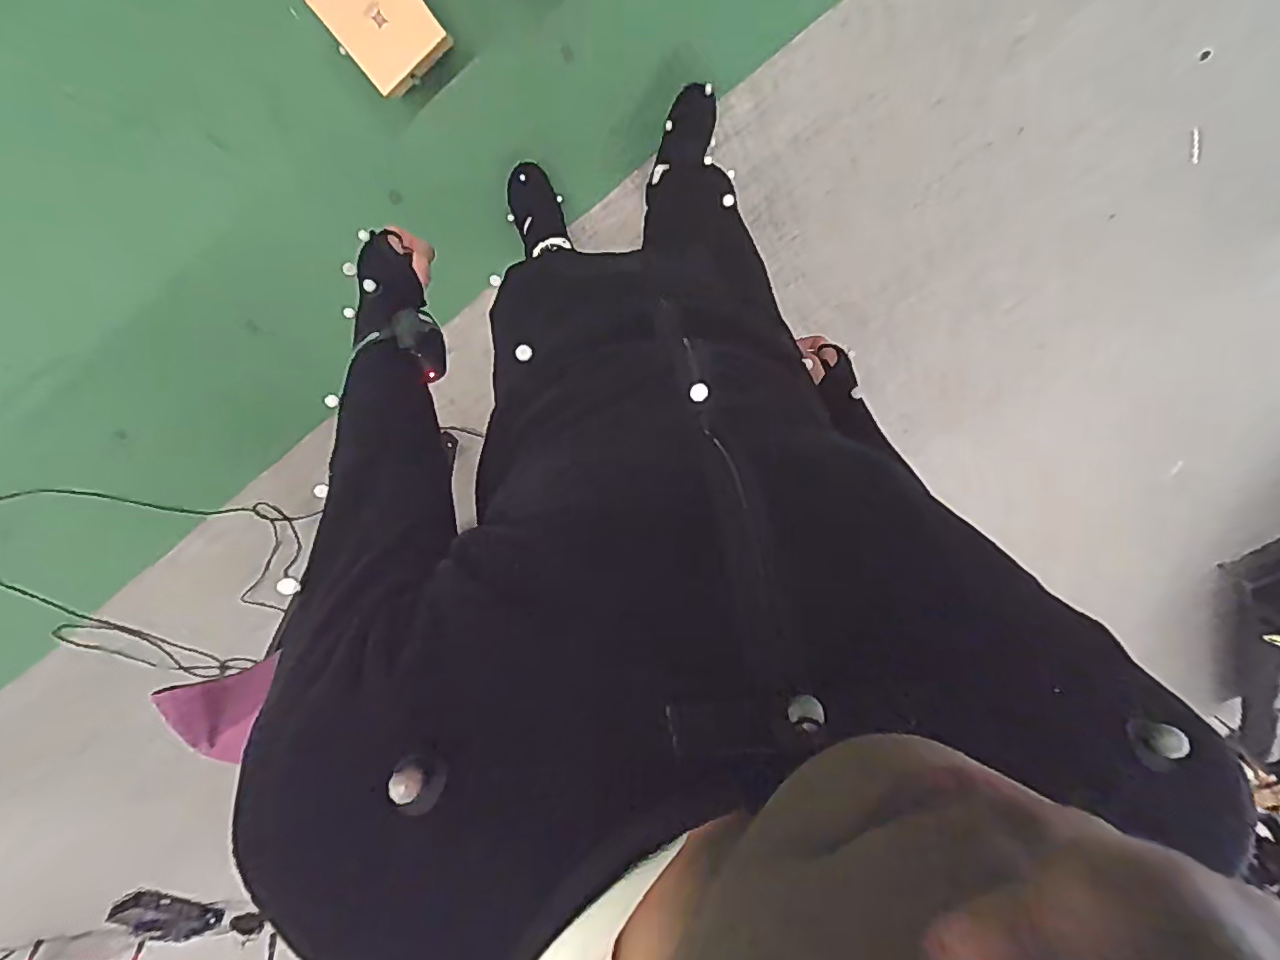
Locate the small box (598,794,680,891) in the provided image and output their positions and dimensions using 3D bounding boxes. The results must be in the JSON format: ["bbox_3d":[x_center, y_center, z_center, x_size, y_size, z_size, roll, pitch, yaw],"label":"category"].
[{"bbox_3d":[-0.012,1.058,1.580,0.179,0.176,0.168,-40,123,15],"label":"small box"}]

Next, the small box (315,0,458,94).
[{"bbox_3d":[-0.472,-0.881,1.032,0.168,0.176,0.179,-35,123,13],"label":"small box"}]
